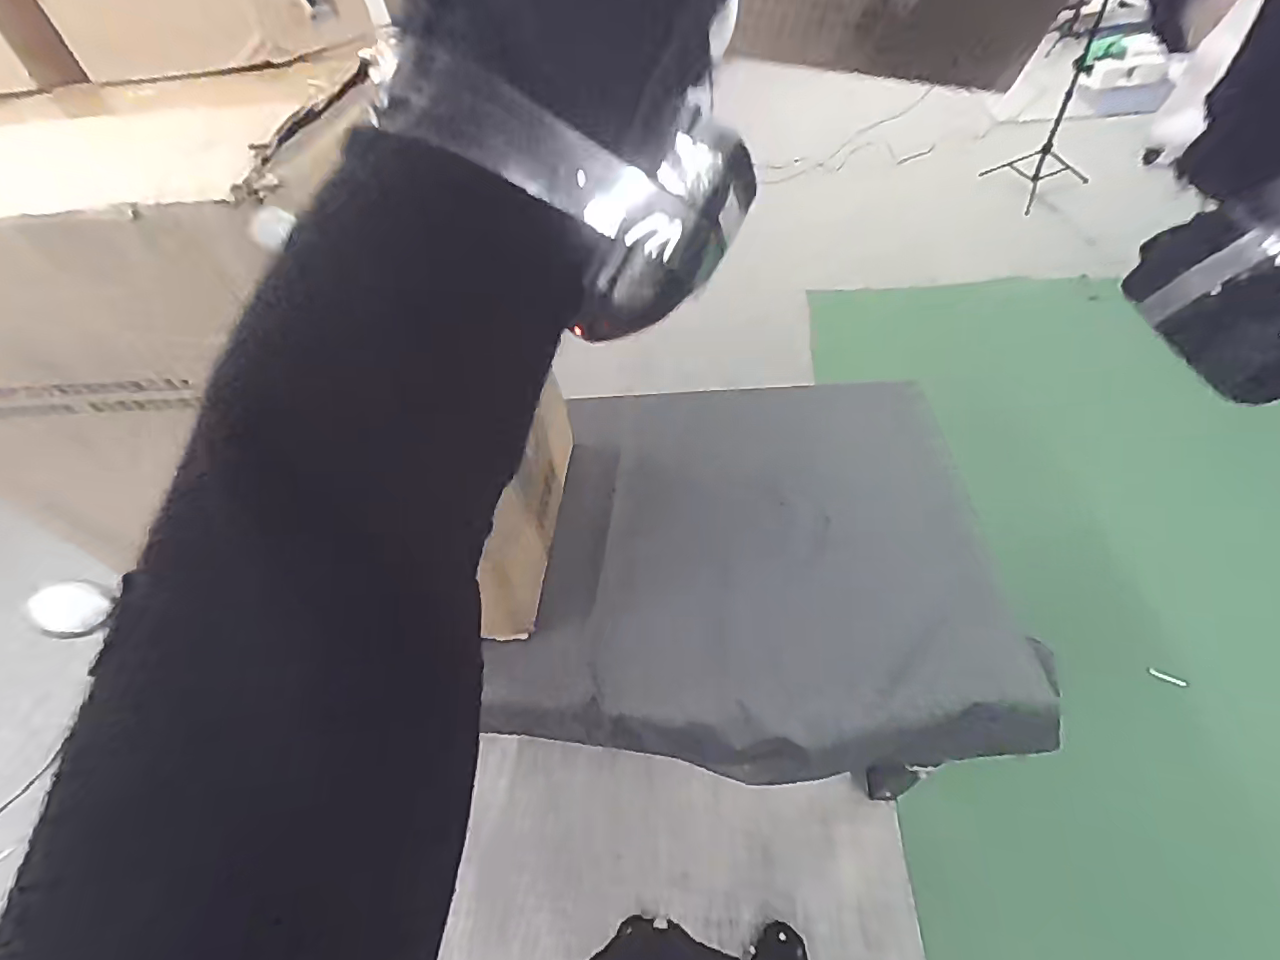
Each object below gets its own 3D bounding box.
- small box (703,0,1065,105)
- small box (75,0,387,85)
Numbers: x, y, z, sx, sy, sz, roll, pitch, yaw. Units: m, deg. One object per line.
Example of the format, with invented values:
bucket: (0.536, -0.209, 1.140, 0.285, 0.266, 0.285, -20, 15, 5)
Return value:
small box: (0.136, -0.324, 0.270, 0.179, 0.176, 0.168, 3, 60, -7)
small box: (-0.345, -0.437, 0.433, 0.179, 0.176, 0.168, 1, 47, 7)
